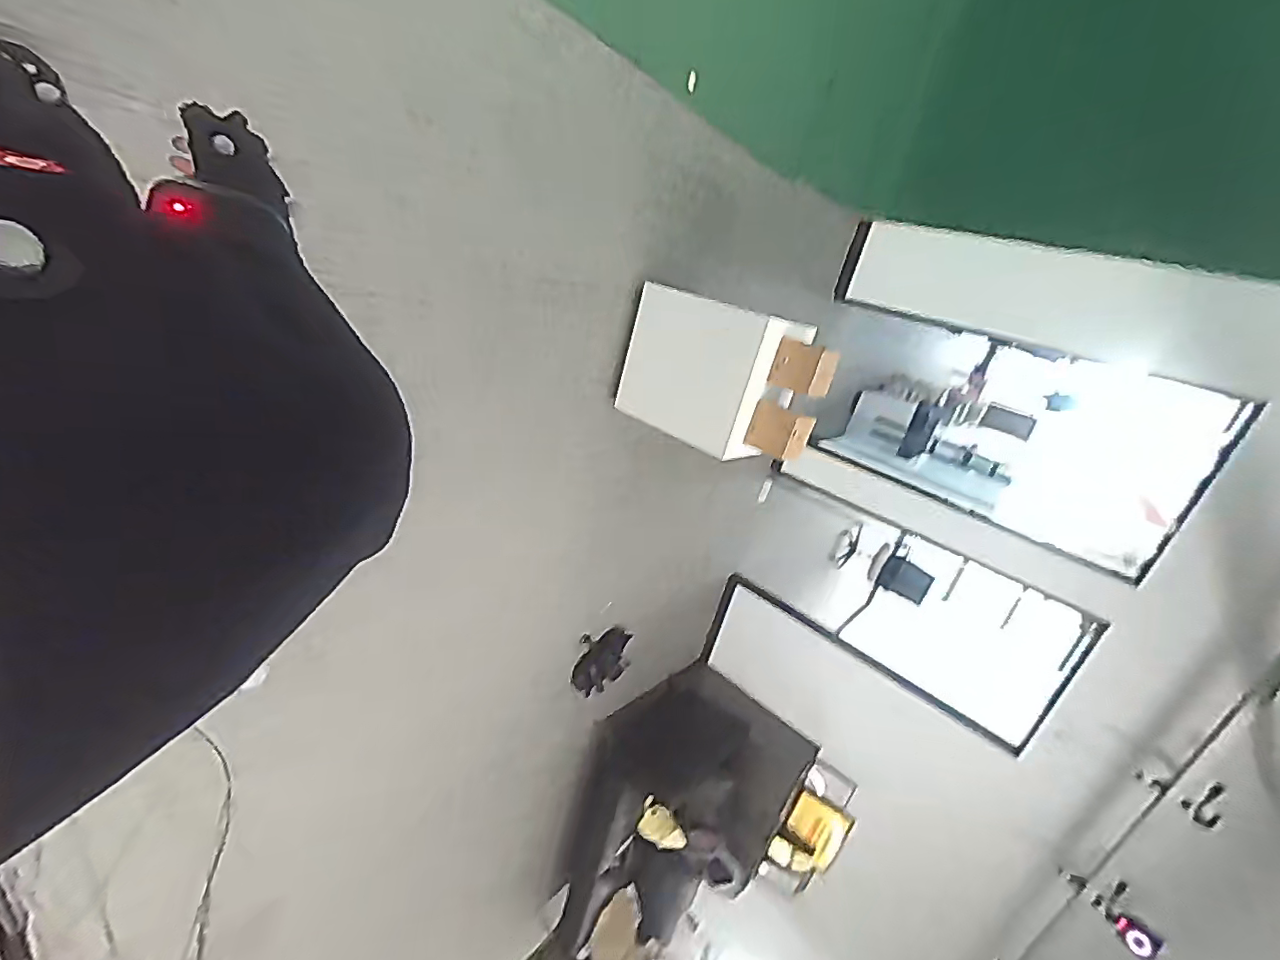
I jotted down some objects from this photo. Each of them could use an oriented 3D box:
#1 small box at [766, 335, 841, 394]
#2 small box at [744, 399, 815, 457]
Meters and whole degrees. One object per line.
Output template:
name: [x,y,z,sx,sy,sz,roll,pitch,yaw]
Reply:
small box: [0.575,-0.410,1.914,0.179,0.176,0.168,-12,123,-48]
small box: [0.510,-0.193,1.985,0.179,0.176,0.168,-7,119,-52]
